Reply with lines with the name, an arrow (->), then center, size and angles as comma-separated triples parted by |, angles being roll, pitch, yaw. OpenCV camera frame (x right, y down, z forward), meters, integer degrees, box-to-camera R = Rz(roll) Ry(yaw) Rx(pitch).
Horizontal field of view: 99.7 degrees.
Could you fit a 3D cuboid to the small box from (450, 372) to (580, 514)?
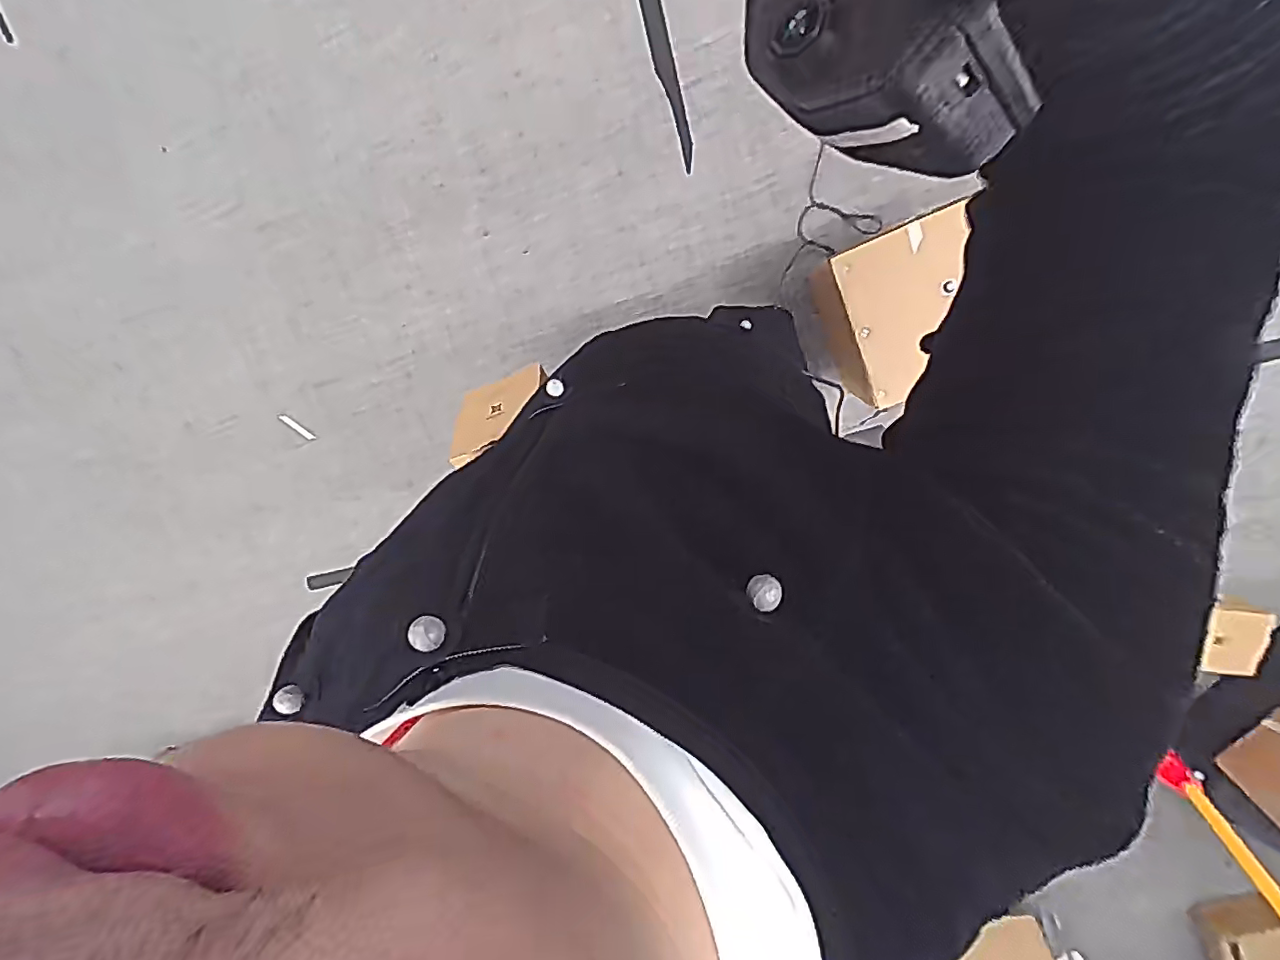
small box -> -0.216, -0.058, 0.982 | 0.168, 0.179, 0.176 | -19, 133, 11
